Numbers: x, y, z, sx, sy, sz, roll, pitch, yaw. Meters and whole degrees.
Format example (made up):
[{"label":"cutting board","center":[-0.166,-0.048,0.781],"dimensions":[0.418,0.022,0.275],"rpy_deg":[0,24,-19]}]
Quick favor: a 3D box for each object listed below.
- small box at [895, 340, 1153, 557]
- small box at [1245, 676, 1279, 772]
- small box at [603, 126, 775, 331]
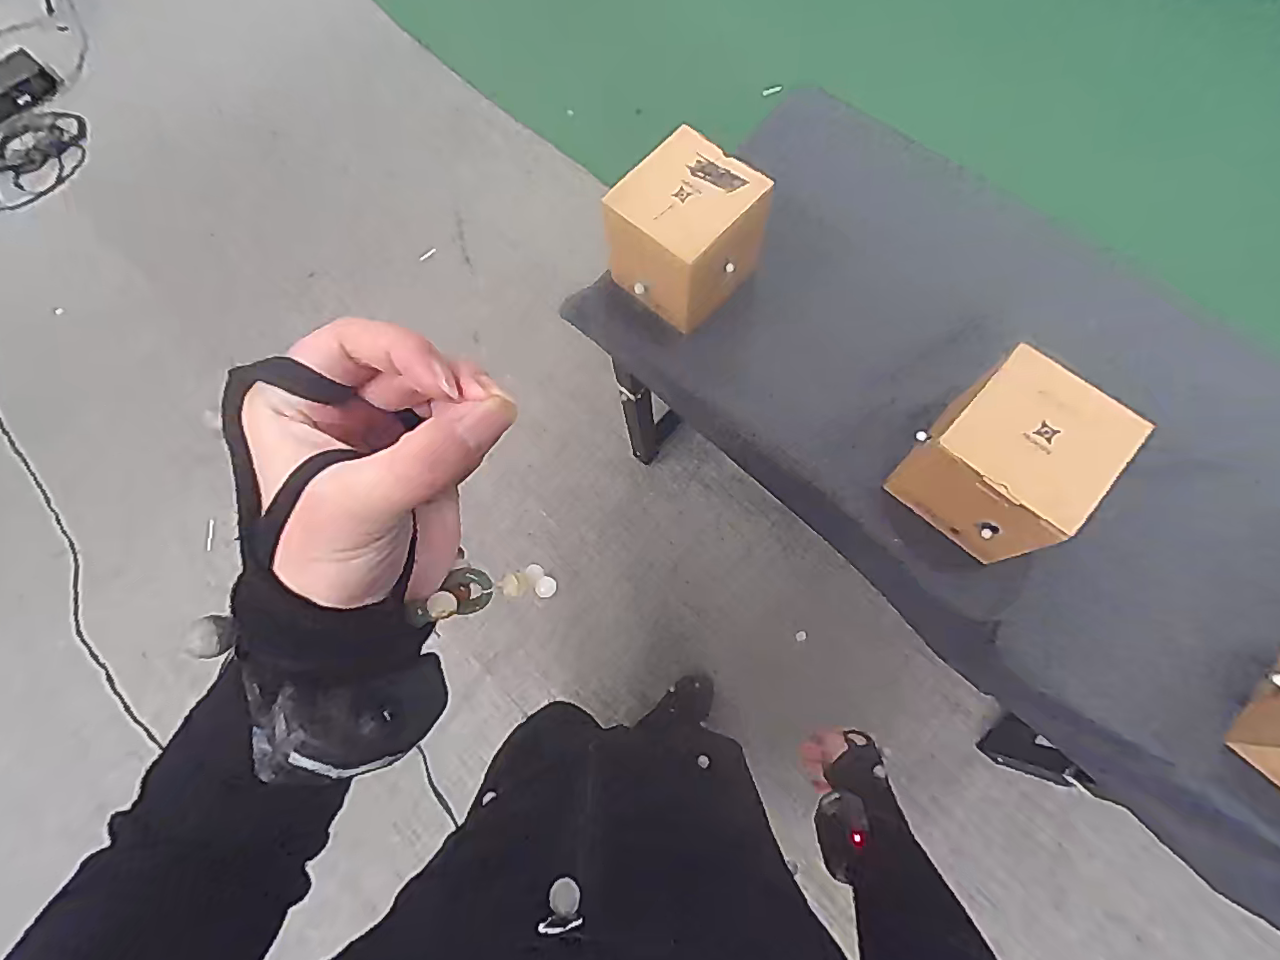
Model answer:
[{"label":"small box","center":[0.448,-0.028,0.668],"dimensions":[0.168,0.176,0.179],"rpy_deg":[41,77,14]},{"label":"small box","center":[0.792,0.271,0.540],"dimensions":[0.179,0.176,0.168],"rpy_deg":[-43,72,-10]},{"label":"small box","center":[0.068,-0.362,0.798],"dimensions":[0.168,0.176,0.179],"rpy_deg":[41,79,15]}]
